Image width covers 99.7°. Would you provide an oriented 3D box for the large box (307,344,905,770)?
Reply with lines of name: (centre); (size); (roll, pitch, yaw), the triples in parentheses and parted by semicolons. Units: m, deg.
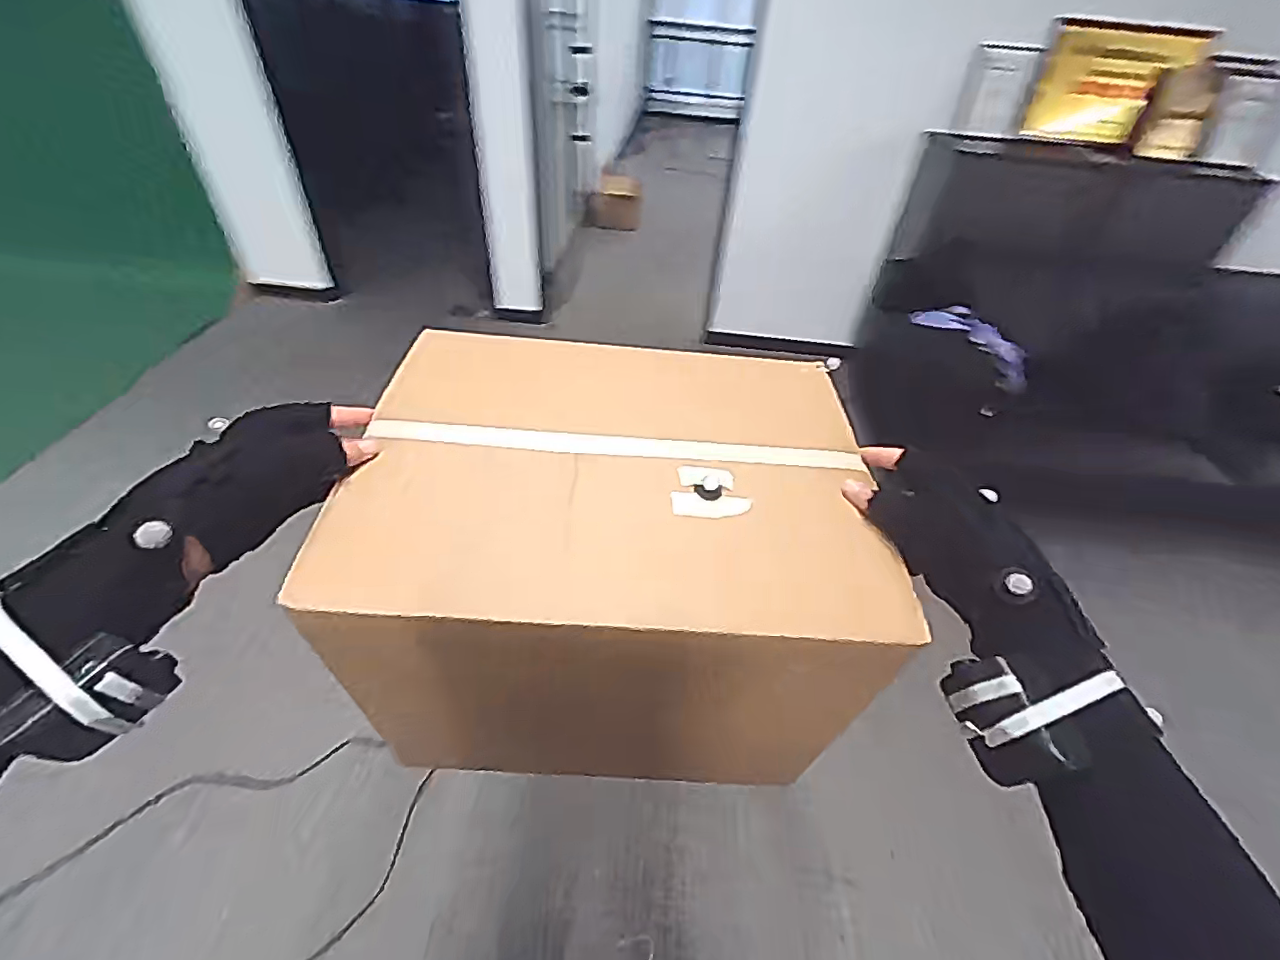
large box: (-0.031, 0.086, 0.561); (0.408, 0.320, 0.320); (4, 46, -4)
